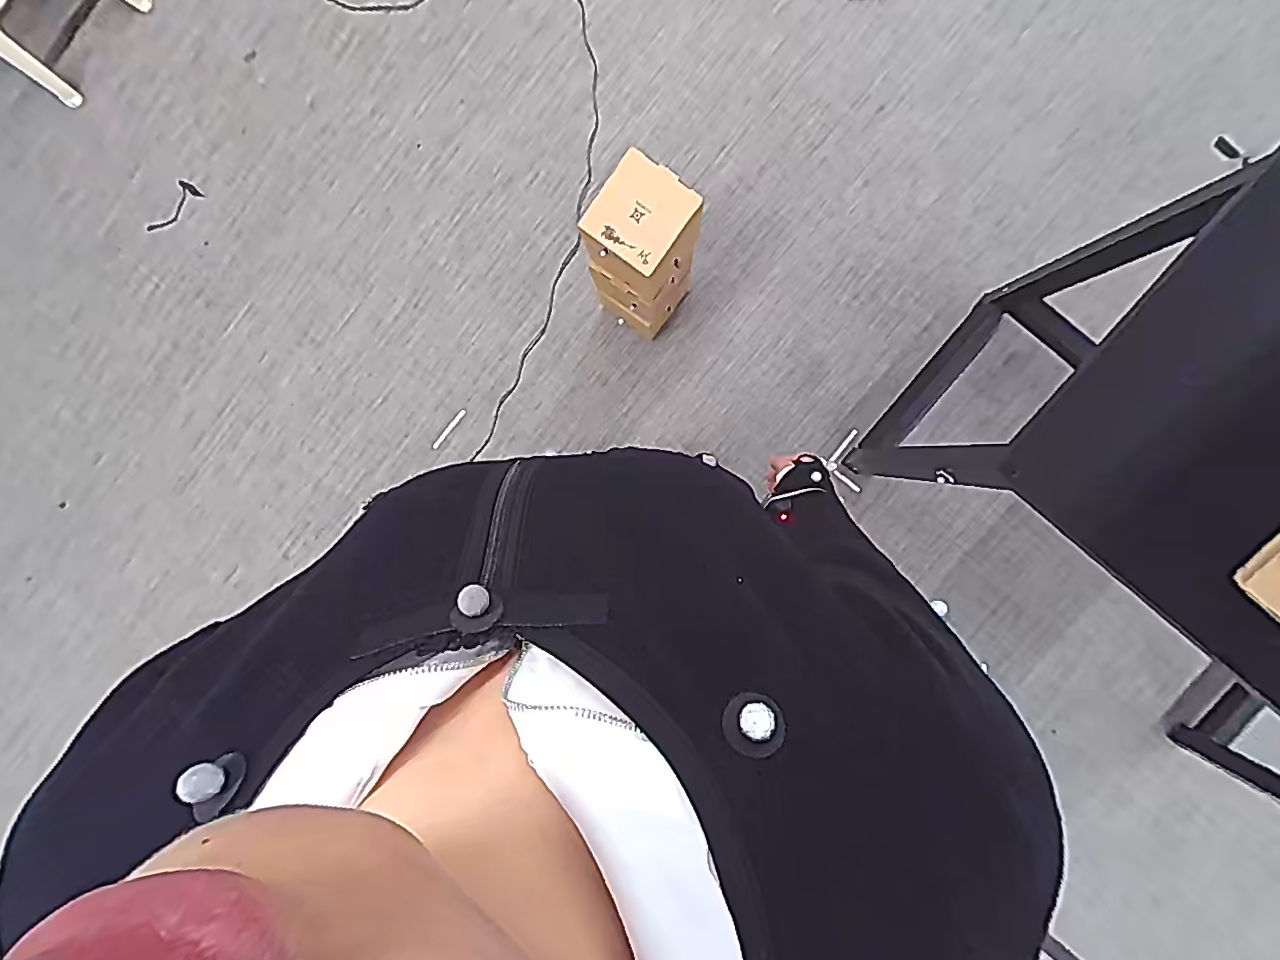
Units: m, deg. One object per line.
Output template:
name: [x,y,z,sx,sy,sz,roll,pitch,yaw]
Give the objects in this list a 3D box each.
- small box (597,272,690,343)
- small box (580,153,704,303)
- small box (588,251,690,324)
small box: [0.010,-0.483,1.396,0.168,0.176,0.179,37,94,1]
small box: [0.005,-0.485,1.069,0.168,0.176,0.179,36,93,1]
small box: [0.004,-0.483,1.234,0.168,0.176,0.179,33,92,0]
